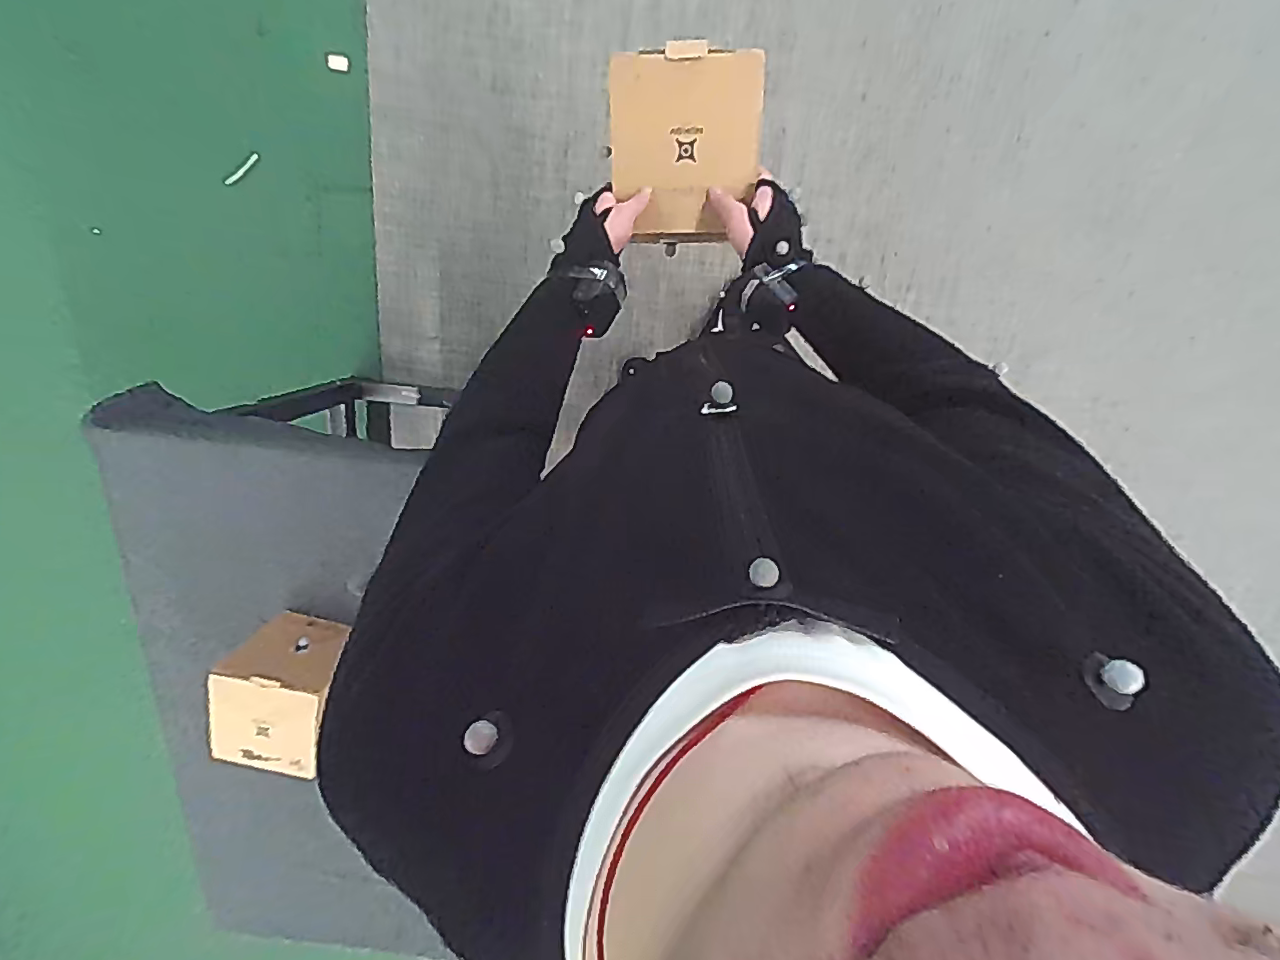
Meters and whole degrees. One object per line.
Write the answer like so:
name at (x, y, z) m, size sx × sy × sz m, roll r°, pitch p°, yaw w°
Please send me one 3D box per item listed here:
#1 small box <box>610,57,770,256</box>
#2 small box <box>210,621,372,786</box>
small box at (0.052, -0.376, 0.658) m, size 0.168 × 0.176 × 0.179 m, roll 2°, pitch 109°, yaw 2°
small box at (-0.576, 0.366, 0.910) m, size 0.168 × 0.176 × 0.179 m, roll 15°, pitch 107°, yaw -2°
